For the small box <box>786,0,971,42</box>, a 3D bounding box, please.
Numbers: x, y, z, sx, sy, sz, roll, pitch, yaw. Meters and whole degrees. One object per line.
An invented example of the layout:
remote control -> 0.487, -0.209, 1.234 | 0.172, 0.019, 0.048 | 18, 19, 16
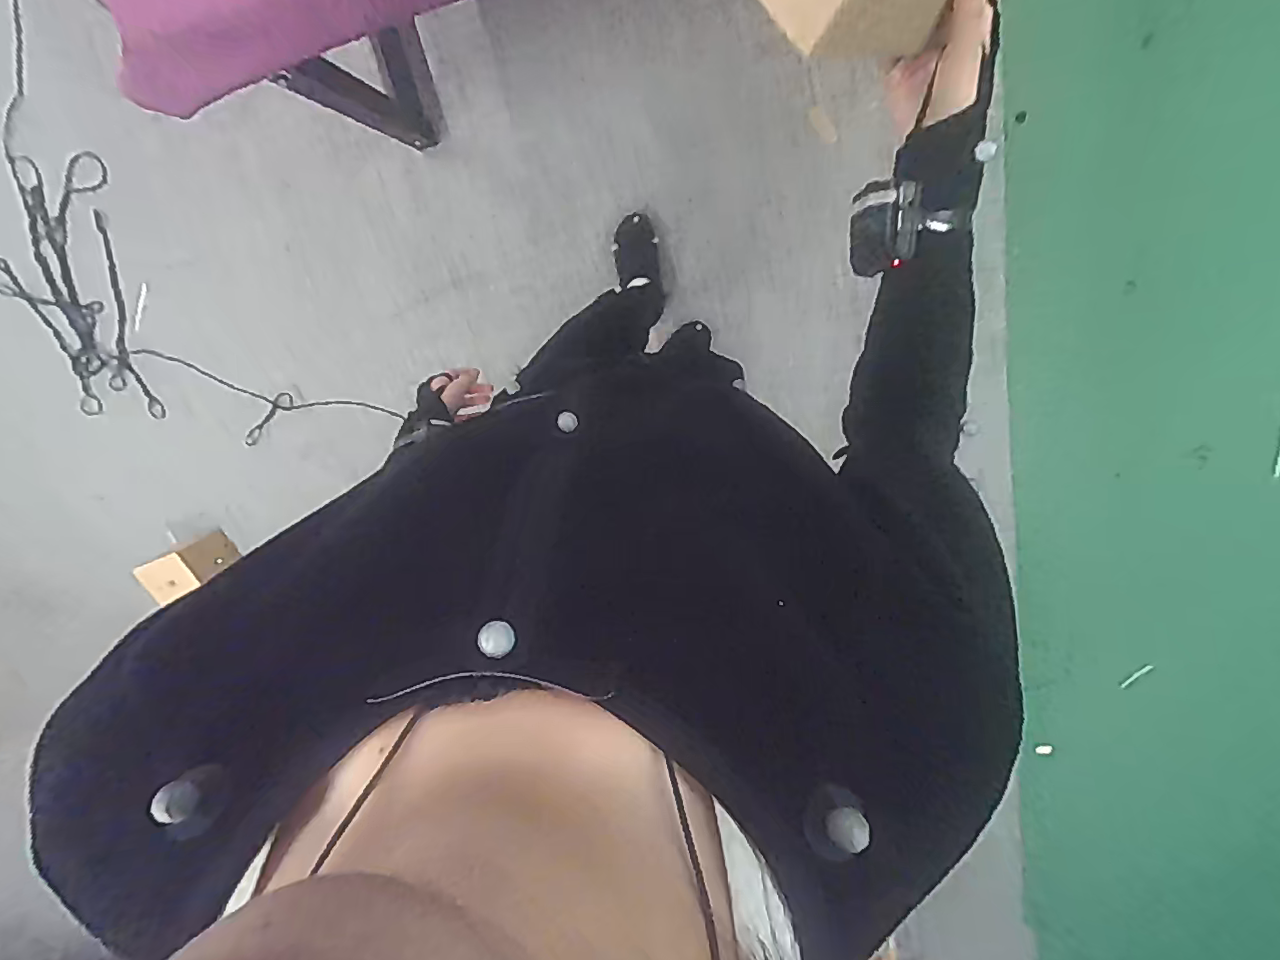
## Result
small box -> 0.139, -0.381, 0.288 | 0.176, 0.179, 0.168 | 57, 149, 6

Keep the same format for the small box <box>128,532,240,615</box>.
small box -> -1.388, 0.282, 1.666 | 0.179, 0.176, 0.168 | -19, 108, 11
